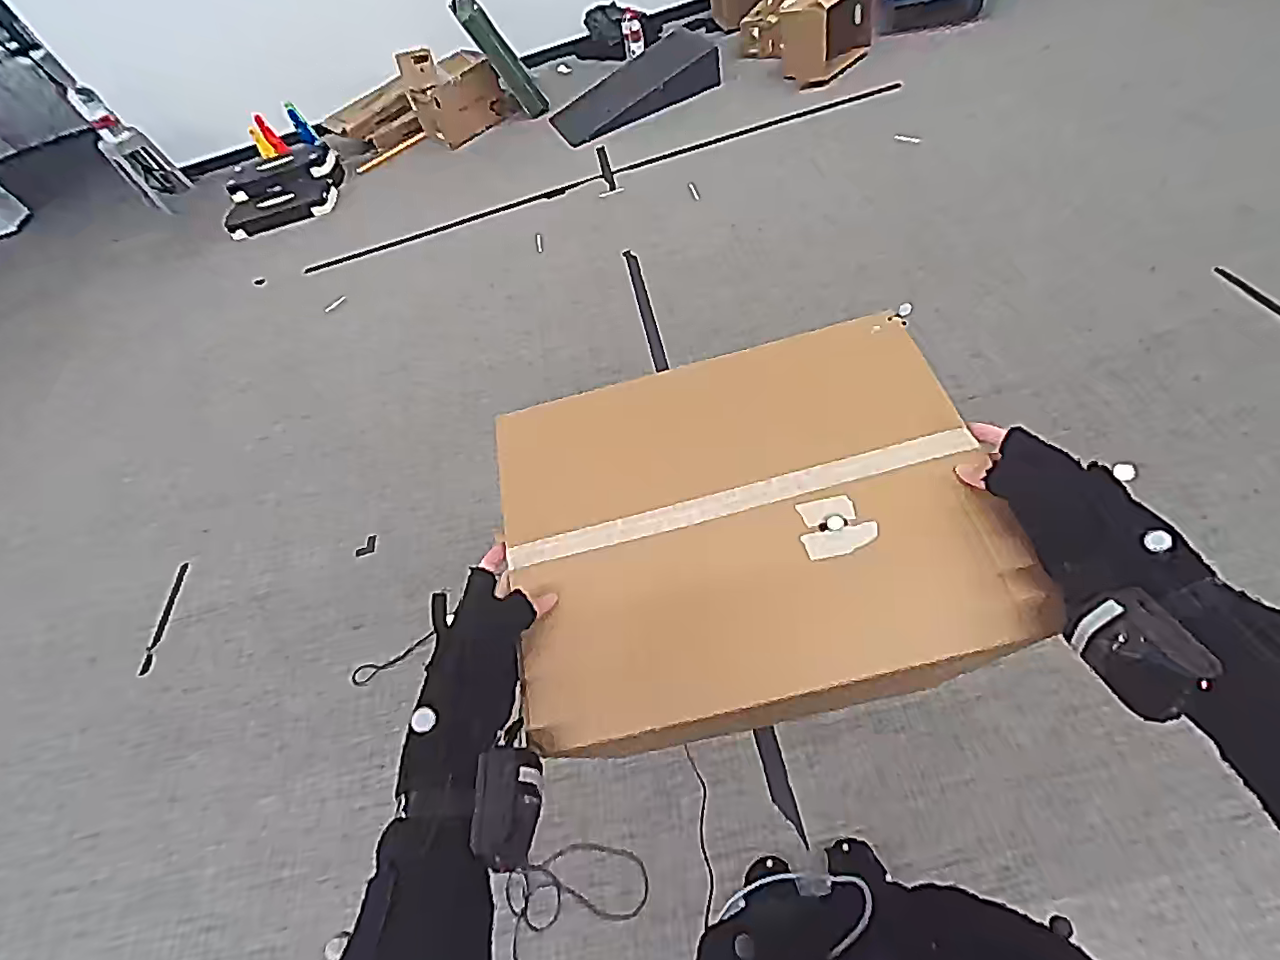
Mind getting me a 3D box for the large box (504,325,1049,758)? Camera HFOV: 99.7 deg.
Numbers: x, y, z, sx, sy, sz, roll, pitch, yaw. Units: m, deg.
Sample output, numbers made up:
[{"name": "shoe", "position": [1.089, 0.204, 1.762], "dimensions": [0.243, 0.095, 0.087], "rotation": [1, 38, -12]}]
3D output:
[{"name": "large box", "position": [0.104, 0.093, 0.605], "dimensions": [0.408, 0.320, 0.320], "rotation": [-15, 61, 2]}]
